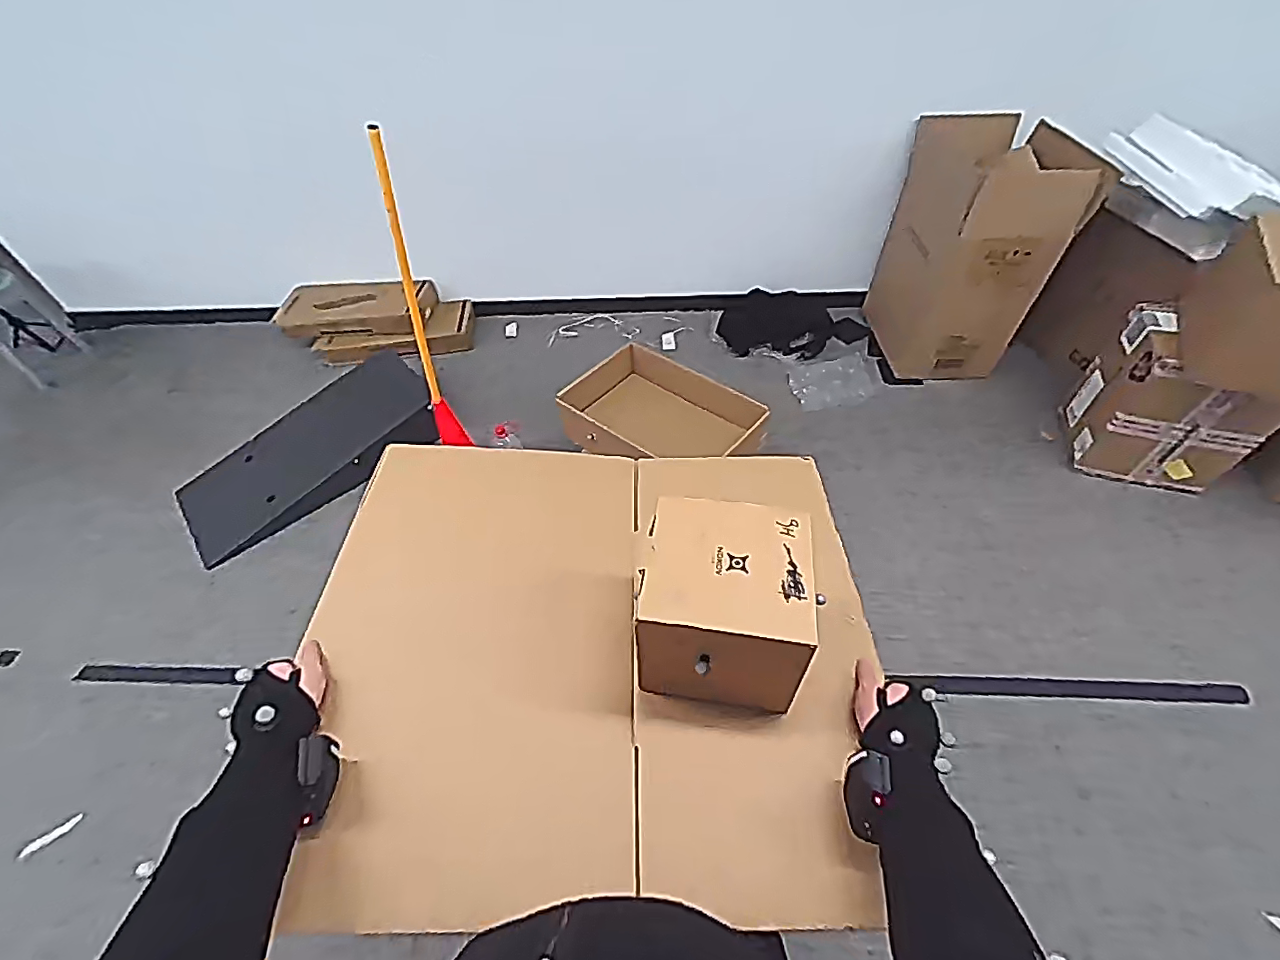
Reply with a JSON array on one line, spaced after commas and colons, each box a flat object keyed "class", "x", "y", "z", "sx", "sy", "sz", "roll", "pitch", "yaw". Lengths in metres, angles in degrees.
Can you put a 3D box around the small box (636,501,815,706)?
[{"class": "small box", "x": 0.098, "y": 0.146, "z": 0.633, "sx": 0.179, "sy": 0.176, "sz": 0.168, "roll": 5, "pitch": 47, "yaw": 8}]
